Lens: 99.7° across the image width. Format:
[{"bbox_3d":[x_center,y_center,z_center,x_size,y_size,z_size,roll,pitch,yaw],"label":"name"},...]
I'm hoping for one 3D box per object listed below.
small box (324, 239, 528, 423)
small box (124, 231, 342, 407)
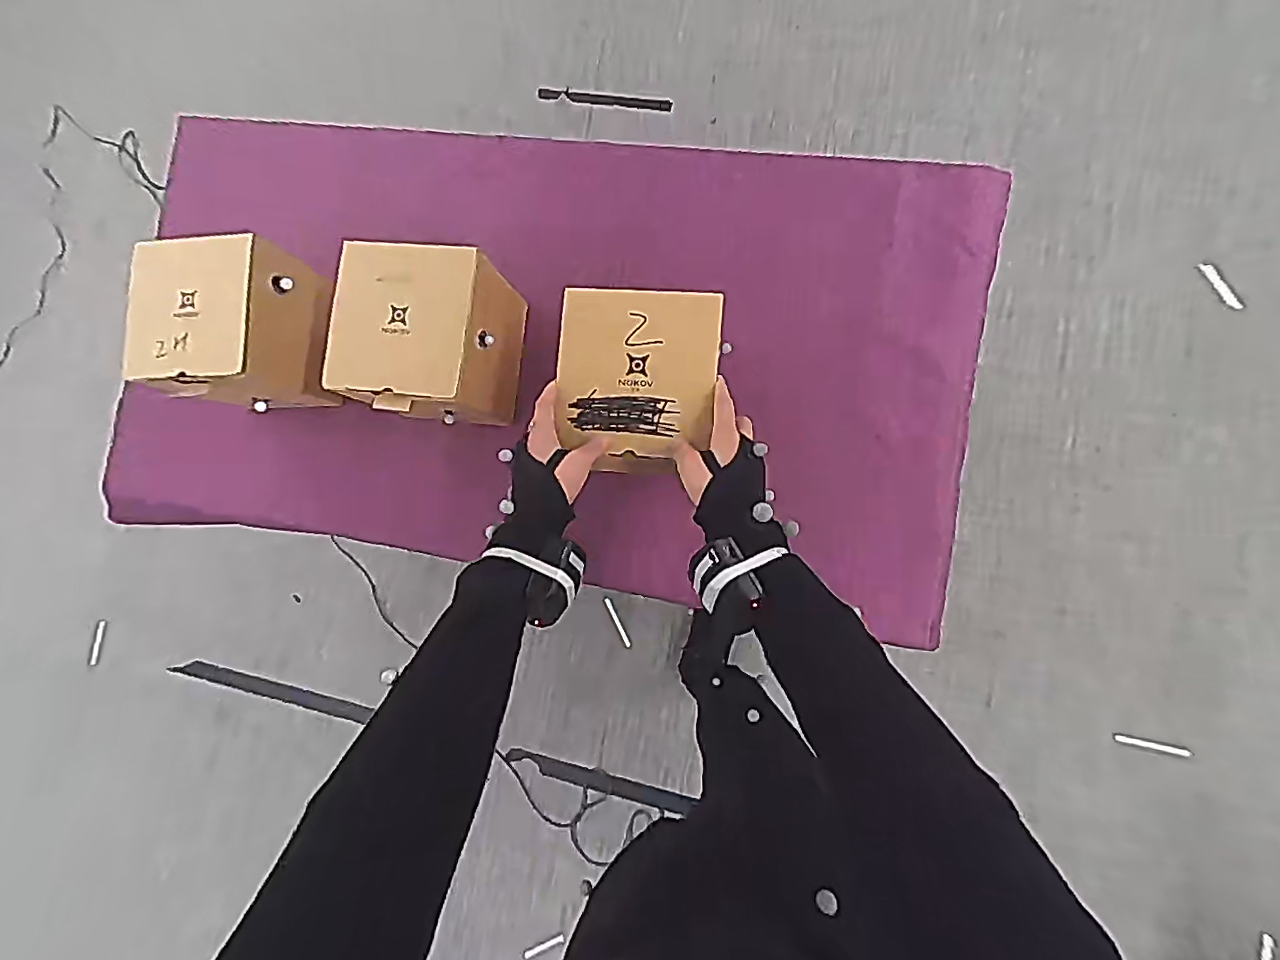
[{"bbox_3d":[-0.252,-0.174,0.677,0.168,0.176,0.179,7,87,8],"label":"small box"},{"bbox_3d":[-0.518,-0.201,0.717,0.168,0.176,0.179,0,86,9],"label":"small box"}]
